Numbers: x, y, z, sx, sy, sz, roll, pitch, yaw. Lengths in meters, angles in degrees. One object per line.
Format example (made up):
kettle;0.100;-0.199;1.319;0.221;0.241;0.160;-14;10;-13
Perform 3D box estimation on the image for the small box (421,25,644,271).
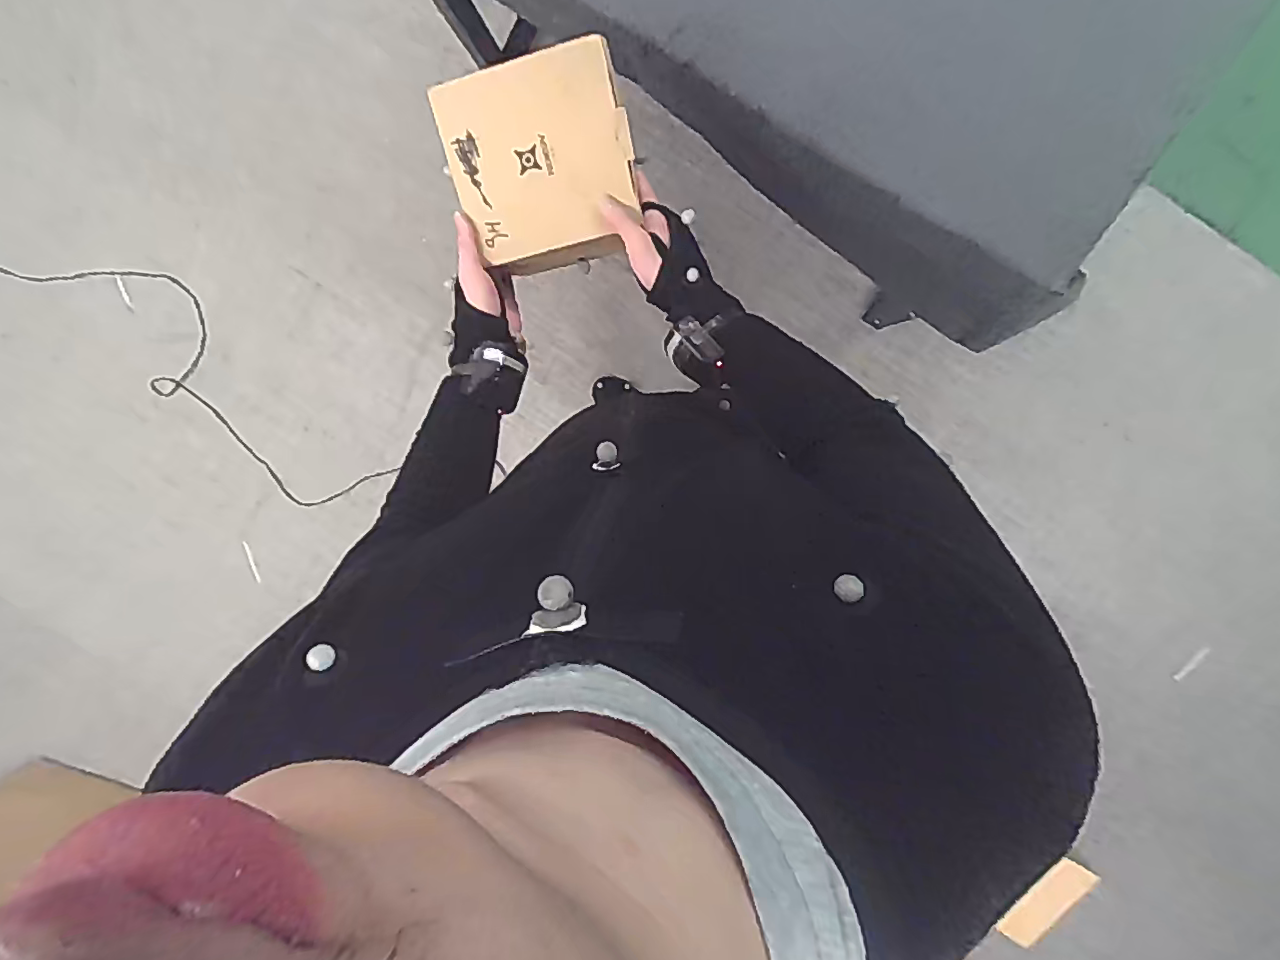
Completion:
small box;-0.096;-0.331;0.577;0.179;0.176;0.168;-11;106;5
